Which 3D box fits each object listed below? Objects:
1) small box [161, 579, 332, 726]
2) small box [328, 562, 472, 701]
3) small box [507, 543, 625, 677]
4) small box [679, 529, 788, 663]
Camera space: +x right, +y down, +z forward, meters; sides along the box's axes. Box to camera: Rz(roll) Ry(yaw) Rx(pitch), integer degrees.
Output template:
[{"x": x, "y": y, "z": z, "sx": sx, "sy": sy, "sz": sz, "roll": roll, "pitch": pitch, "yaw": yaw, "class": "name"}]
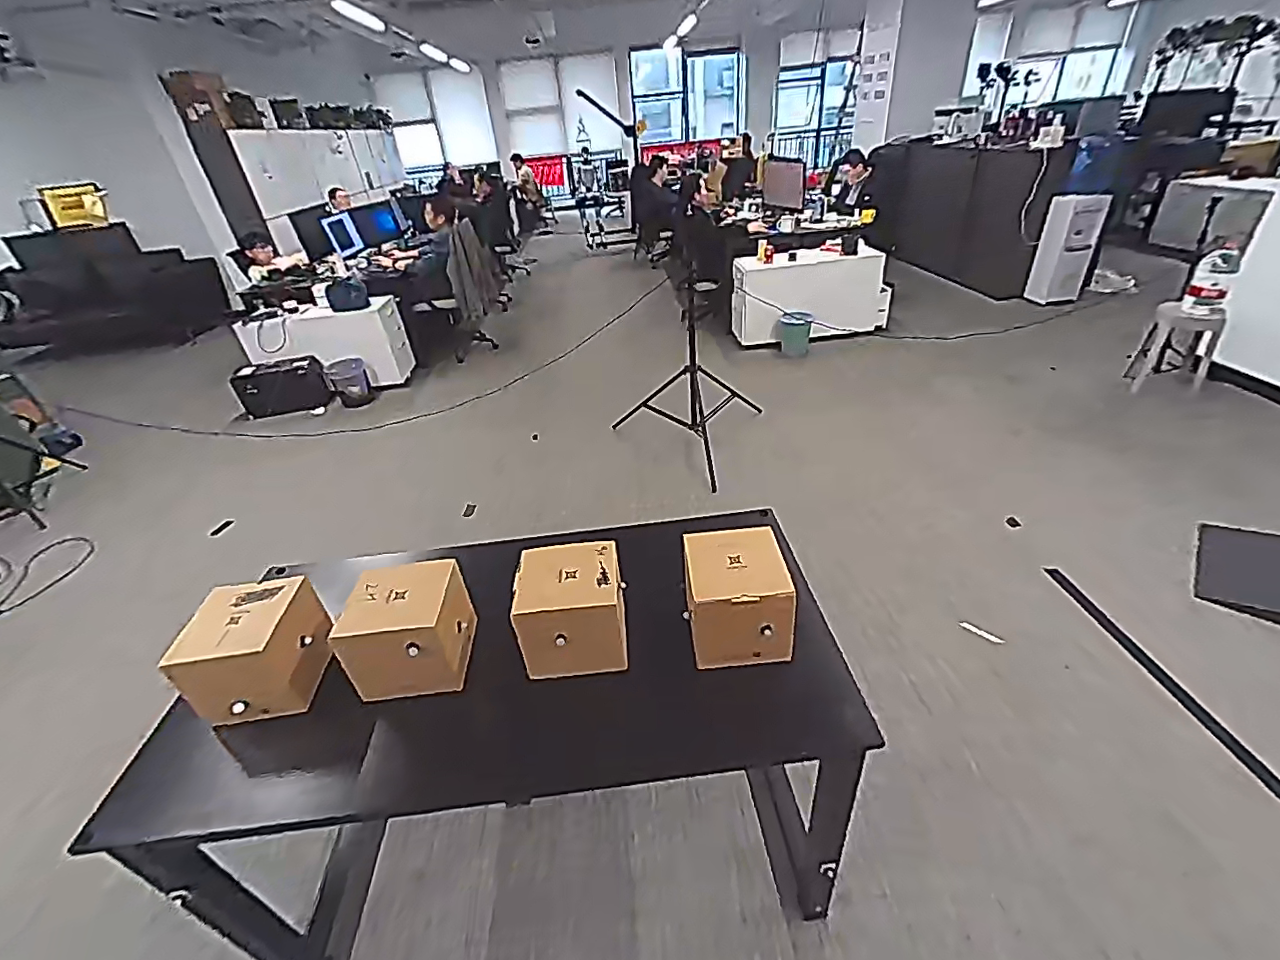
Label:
[{"x": -0.681, "y": 0.306, "z": 0.970, "sx": 0.168, "sy": 0.176, "sz": 0.179, "roll": -8, "pitch": 34, "yaw": -3, "class": "small box"}, {"x": -0.417, "y": 0.273, "z": 0.978, "sx": 0.179, "sy": 0.176, "sz": 0.168, "roll": -7, "pitch": 33, "yaw": -2, "class": "small box"}, {"x": -0.126, "y": 0.238, "z": 0.987, "sx": 0.179, "sy": 0.176, "sz": 0.168, "roll": -7, "pitch": 33, "yaw": 0, "class": "small box"}, {"x": 0.163, "y": 0.214, "z": 0.978, "sx": 0.168, "sy": 0.176, "sz": 0.179, "roll": -5, "pitch": 32, "yaw": 0, "class": "small box"}]
